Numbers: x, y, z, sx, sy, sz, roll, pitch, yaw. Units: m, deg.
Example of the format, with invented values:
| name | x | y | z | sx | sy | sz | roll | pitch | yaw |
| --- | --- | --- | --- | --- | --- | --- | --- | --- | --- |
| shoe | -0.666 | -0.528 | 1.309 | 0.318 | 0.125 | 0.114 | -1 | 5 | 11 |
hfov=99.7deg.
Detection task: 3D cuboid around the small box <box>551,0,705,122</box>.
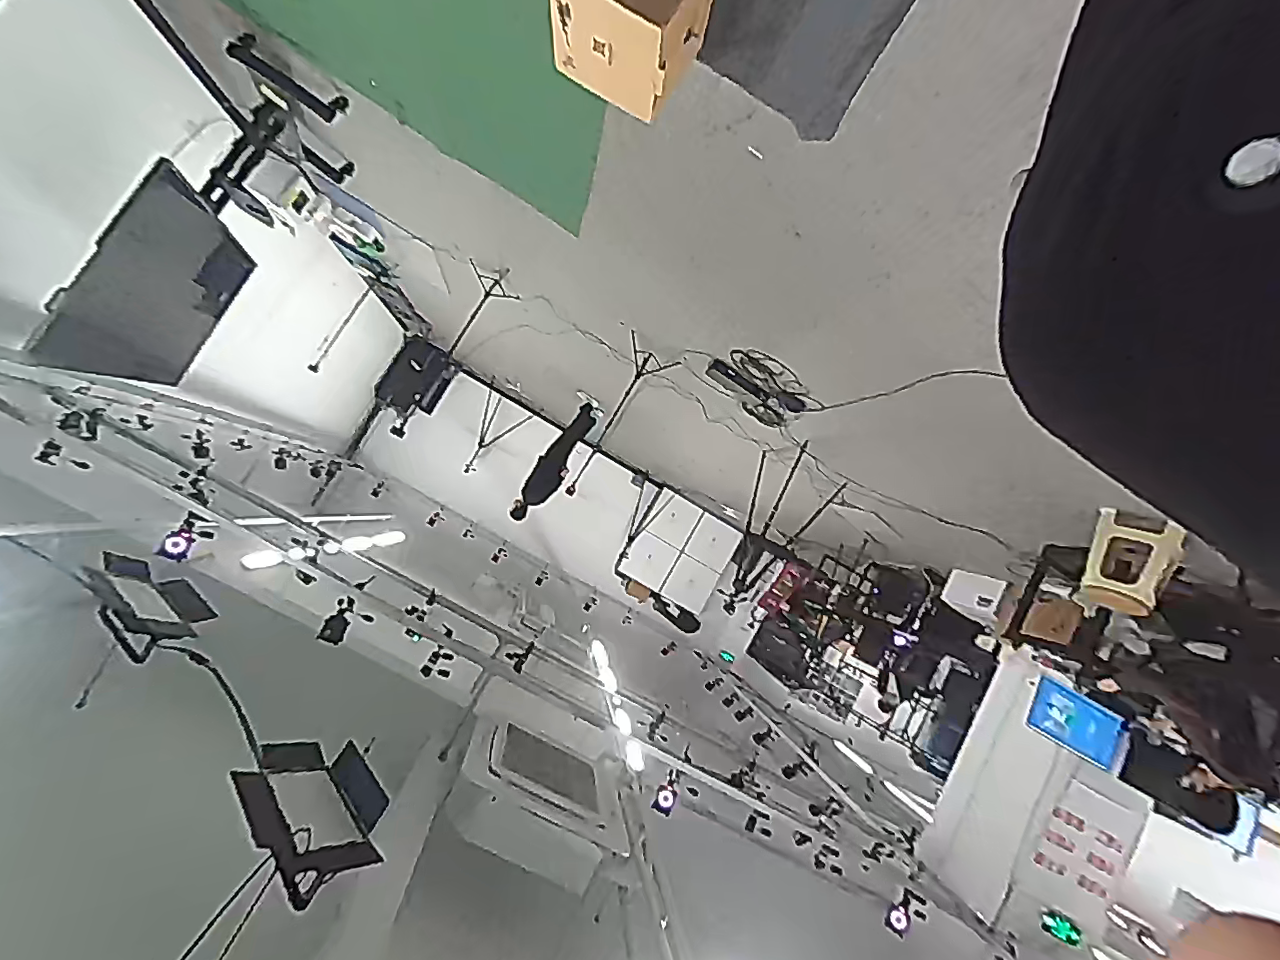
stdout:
| name | x | y | z | sx | sy | sz | roll | pitch | yaw |
| --- | --- | --- | --- | --- | --- | --- | --- | --- | --- |
| small box | -0.010 | -0.679 | 0.777 | 0.179 | 0.176 | 0.168 | 29 | 172 | -1 |
